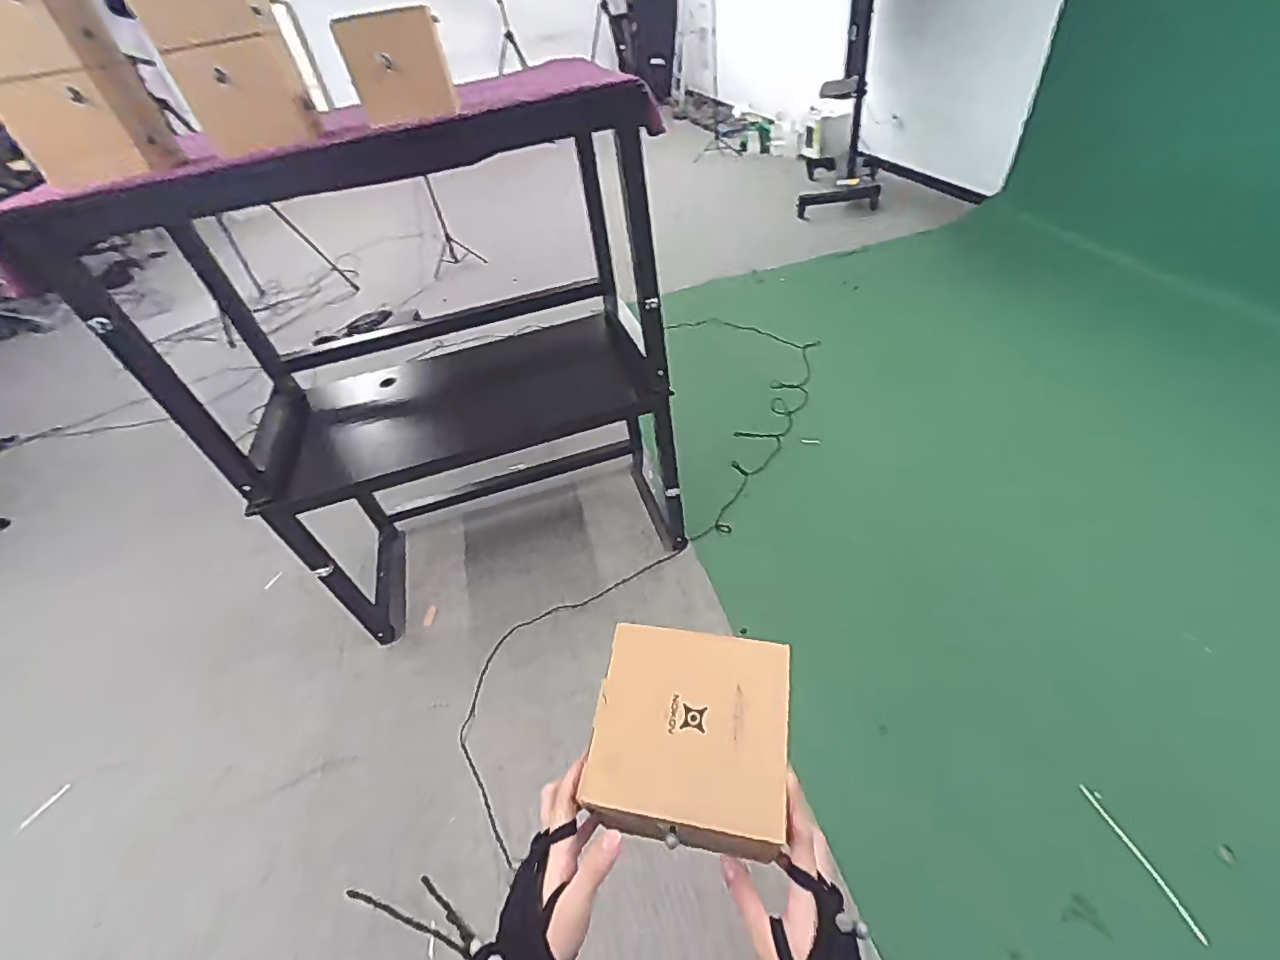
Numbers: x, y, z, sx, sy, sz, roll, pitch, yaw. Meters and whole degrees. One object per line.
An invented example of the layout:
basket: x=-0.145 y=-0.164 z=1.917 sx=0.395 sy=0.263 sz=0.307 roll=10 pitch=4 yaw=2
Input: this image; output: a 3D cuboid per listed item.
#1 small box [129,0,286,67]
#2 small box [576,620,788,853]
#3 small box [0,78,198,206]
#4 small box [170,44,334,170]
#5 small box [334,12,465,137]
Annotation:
small box: x=-0.764 y=-0.845 z=0.945 sx=0.179 sy=0.176 sz=0.168 roll=-17 pitch=42 yaw=-4
small box: x=0.054 y=0.264 z=0.554 sx=0.179 sy=0.176 sz=0.168 roll=4 pitch=51 yaw=13
small box: x=-1.005 y=-0.639 z=1.024 sx=0.179 sy=0.176 sz=0.168 roll=-16 pitch=42 yaw=-5
small box: x=-0.740 y=-0.727 z=1.056 sx=0.179 sy=0.176 sz=0.168 roll=-16 pitch=43 yaw=-4
small box: x=-0.469 y=-0.810 z=1.083 sx=0.179 sy=0.176 sz=0.168 roll=-16 pitch=43 yaw=-3
